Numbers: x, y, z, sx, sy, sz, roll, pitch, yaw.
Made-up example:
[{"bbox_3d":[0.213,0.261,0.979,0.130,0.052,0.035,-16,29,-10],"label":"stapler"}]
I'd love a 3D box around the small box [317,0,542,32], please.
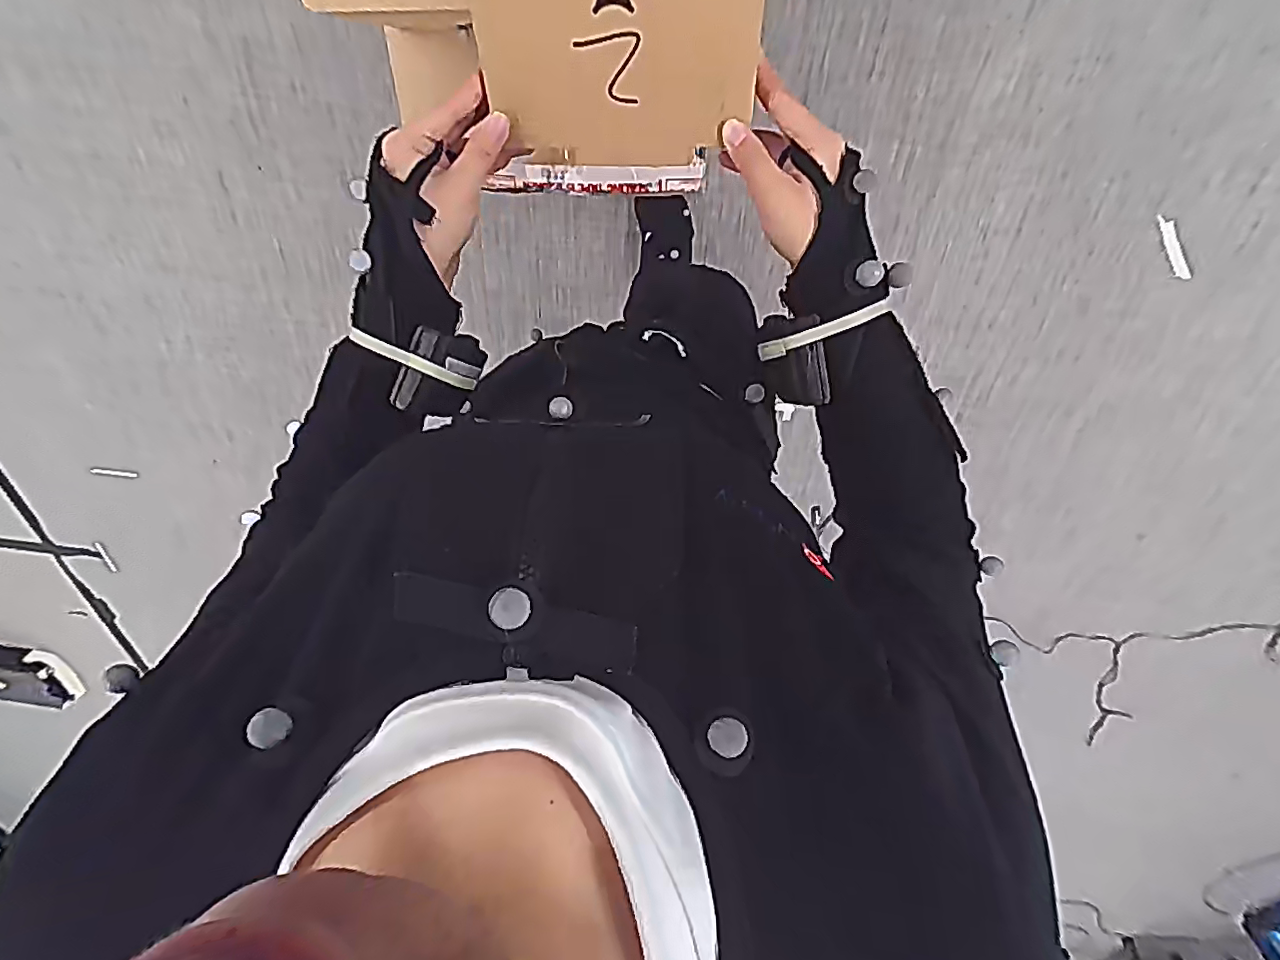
[{"bbox_3d":[-0.206,-0.536,0.509,0.179,0.176,0.168,5,125,6],"label":"small box"}]
